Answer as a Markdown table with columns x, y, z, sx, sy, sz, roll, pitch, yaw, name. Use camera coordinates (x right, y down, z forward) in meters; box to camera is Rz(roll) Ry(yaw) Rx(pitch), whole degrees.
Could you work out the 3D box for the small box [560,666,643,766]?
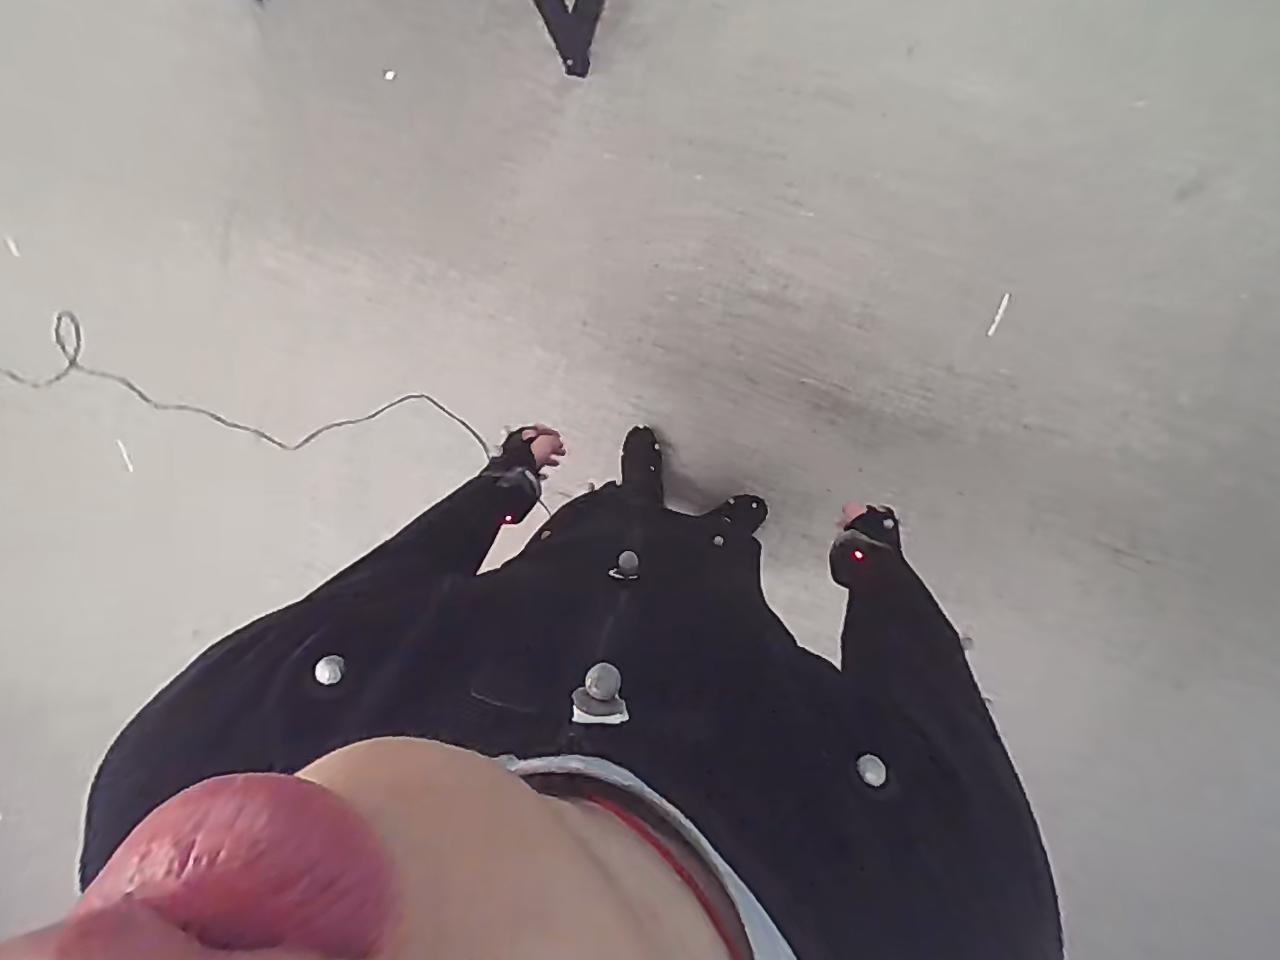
| x | y | z | sx | sy | sz | roll | pitch | yaw | name |
| --- | --- | --- | --- | --- | --- | --- | --- | --- | --- |
| -0.104 | 0.672 | 1.560 | 0.168 | 0.176 | 0.179 | 22 | 96 | 10 | small box |
